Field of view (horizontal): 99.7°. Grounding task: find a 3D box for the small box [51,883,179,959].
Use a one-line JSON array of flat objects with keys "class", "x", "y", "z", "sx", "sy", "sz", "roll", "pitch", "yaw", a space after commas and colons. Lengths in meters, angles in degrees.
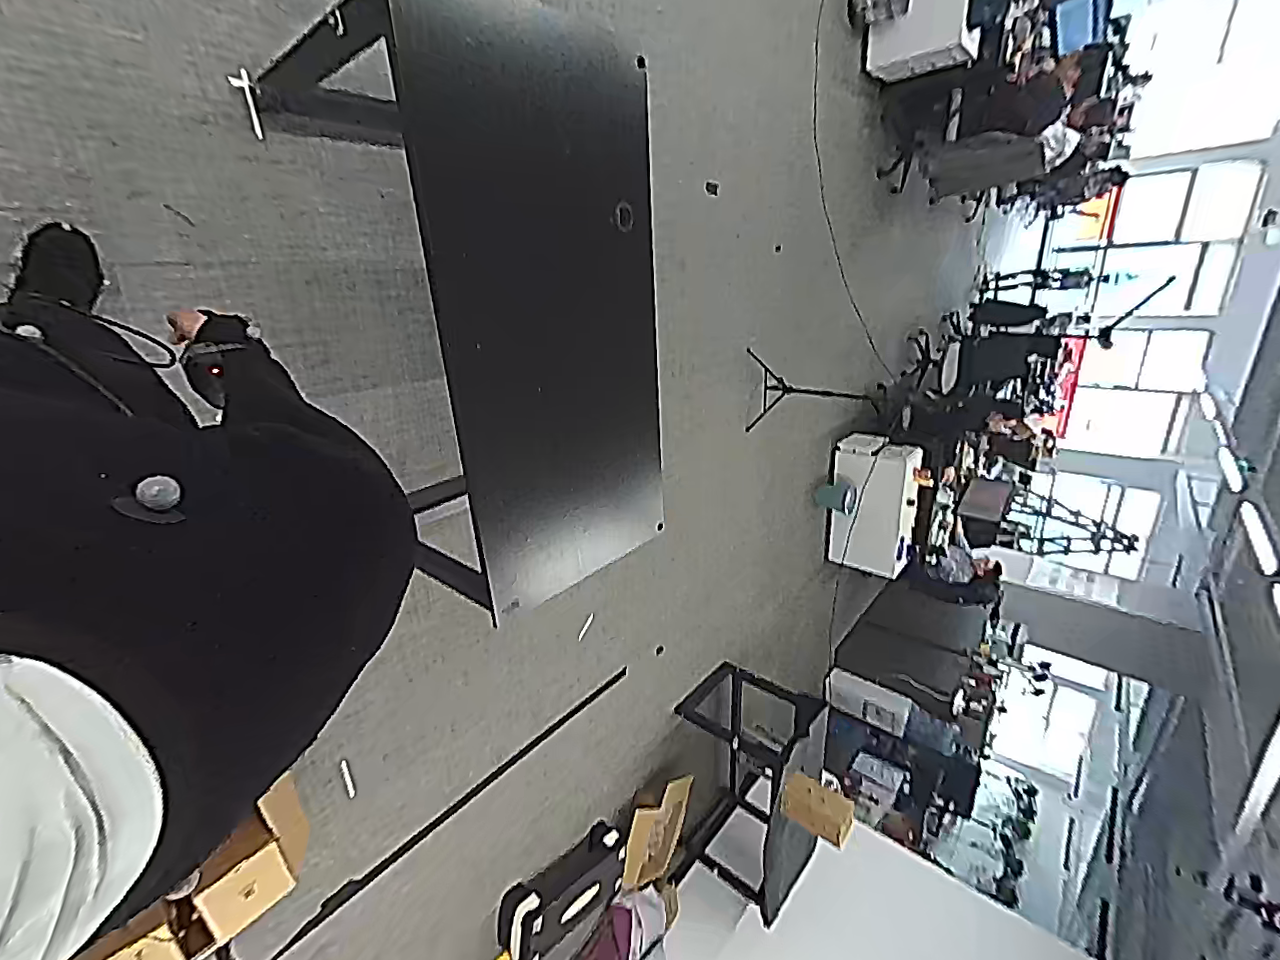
[{"class": "small box", "x": -1.130, "y": 1.038, "z": 1.171, "sx": 0.168, "sy": 0.176, "sz": 0.179, "roll": -22, "pitch": 118, "yaw": -45}]
